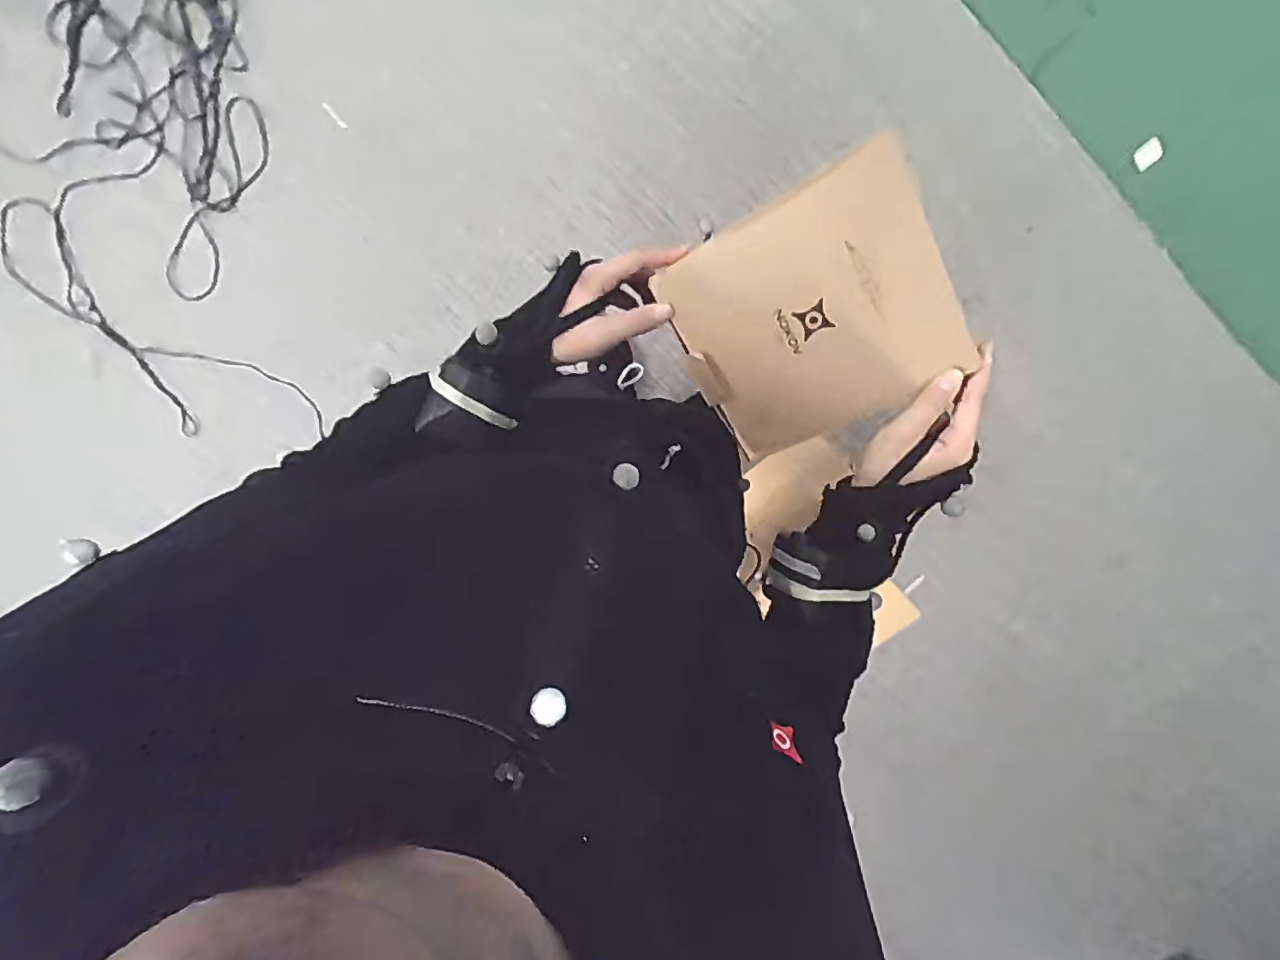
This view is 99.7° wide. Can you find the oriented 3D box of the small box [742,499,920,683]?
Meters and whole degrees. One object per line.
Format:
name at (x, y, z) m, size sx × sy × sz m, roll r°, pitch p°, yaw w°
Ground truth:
small box at (0.270, 0.156, 0.814) m, size 0.179 × 0.176 × 0.168 m, roll -41°, pitch 98°, yaw 16°
